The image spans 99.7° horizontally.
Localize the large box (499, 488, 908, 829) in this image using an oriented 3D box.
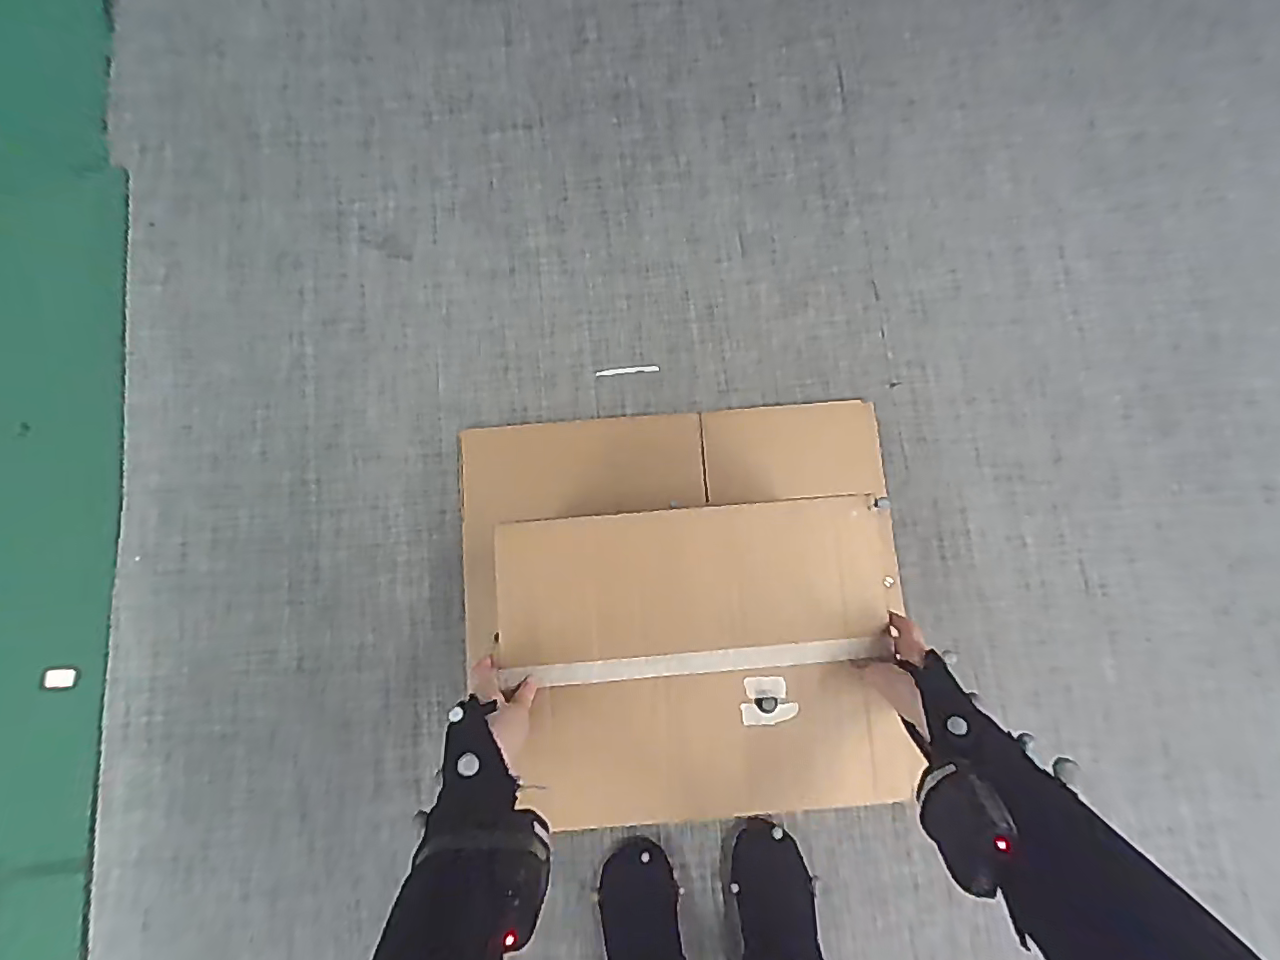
[{"bbox_3d":[0.058,0.194,0.705,0.408,0.320,0.320,-5,85,-2],"label":"large box"}]
